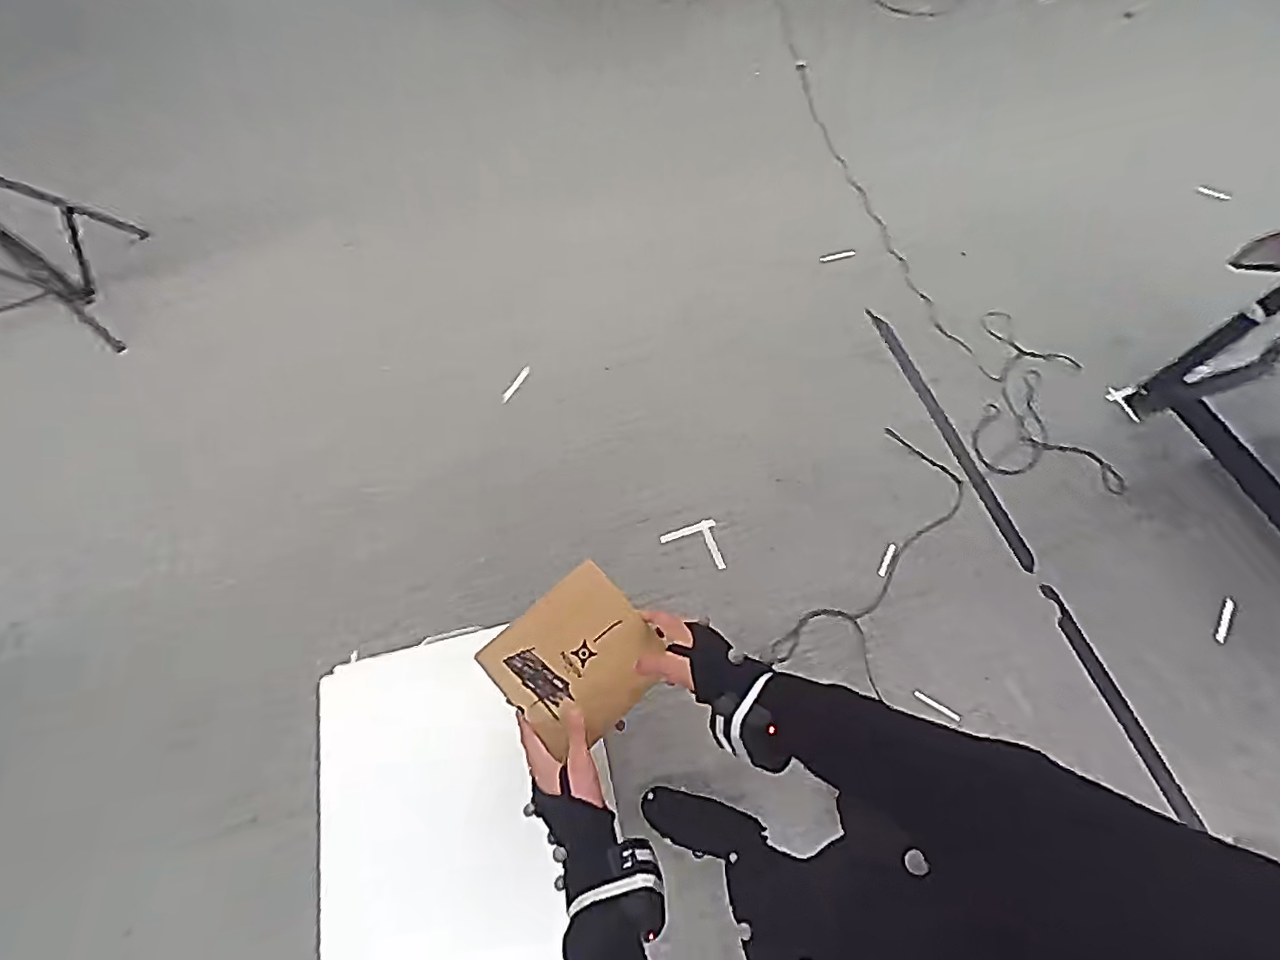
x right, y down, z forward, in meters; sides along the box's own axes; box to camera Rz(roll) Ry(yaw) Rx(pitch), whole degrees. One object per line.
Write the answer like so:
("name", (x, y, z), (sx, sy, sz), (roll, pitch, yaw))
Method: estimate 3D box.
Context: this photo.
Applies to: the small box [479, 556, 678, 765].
("small box", (-0.075, 0.229, 0.700), (0.179, 0.176, 0.168), (-39, 78, -17))
